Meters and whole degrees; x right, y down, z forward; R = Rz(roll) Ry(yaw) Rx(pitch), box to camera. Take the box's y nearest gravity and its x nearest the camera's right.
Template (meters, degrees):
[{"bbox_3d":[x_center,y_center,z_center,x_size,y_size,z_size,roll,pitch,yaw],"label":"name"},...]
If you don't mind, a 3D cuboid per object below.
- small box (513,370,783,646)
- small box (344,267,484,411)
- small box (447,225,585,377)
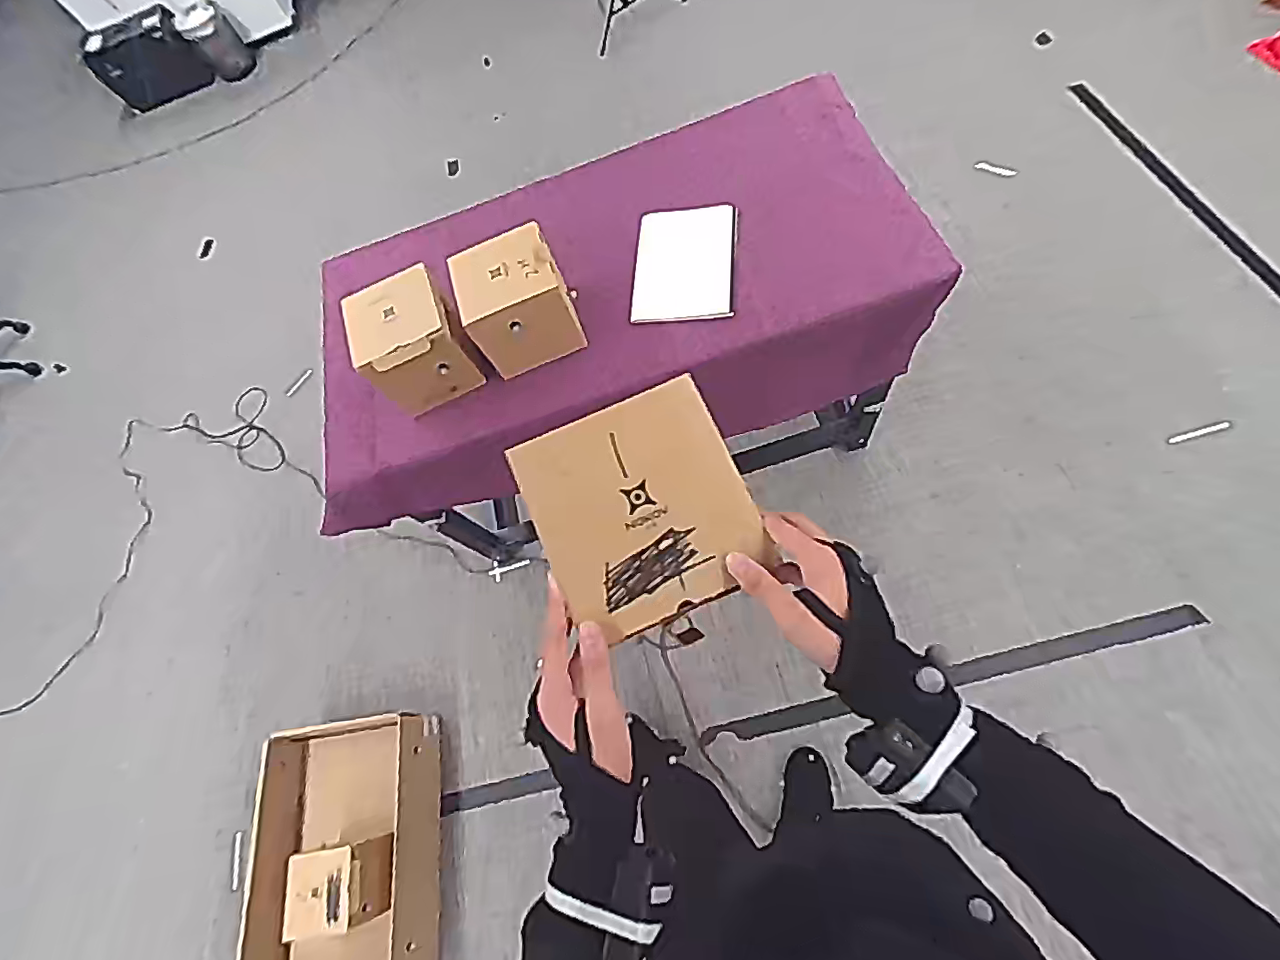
[{"bbox_3d":[0.008,0.033,0.502,0.168,0.176,0.179,-24,77,-3],"label":"small box"},{"bbox_3d":[-0.415,-0.251,1.012,0.168,0.176,0.179,-25,64,1],"label":"small box"},{"bbox_3d":[-0.223,-0.319,0.994,0.179,0.176,0.168,-22,65,3],"label":"small box"}]
